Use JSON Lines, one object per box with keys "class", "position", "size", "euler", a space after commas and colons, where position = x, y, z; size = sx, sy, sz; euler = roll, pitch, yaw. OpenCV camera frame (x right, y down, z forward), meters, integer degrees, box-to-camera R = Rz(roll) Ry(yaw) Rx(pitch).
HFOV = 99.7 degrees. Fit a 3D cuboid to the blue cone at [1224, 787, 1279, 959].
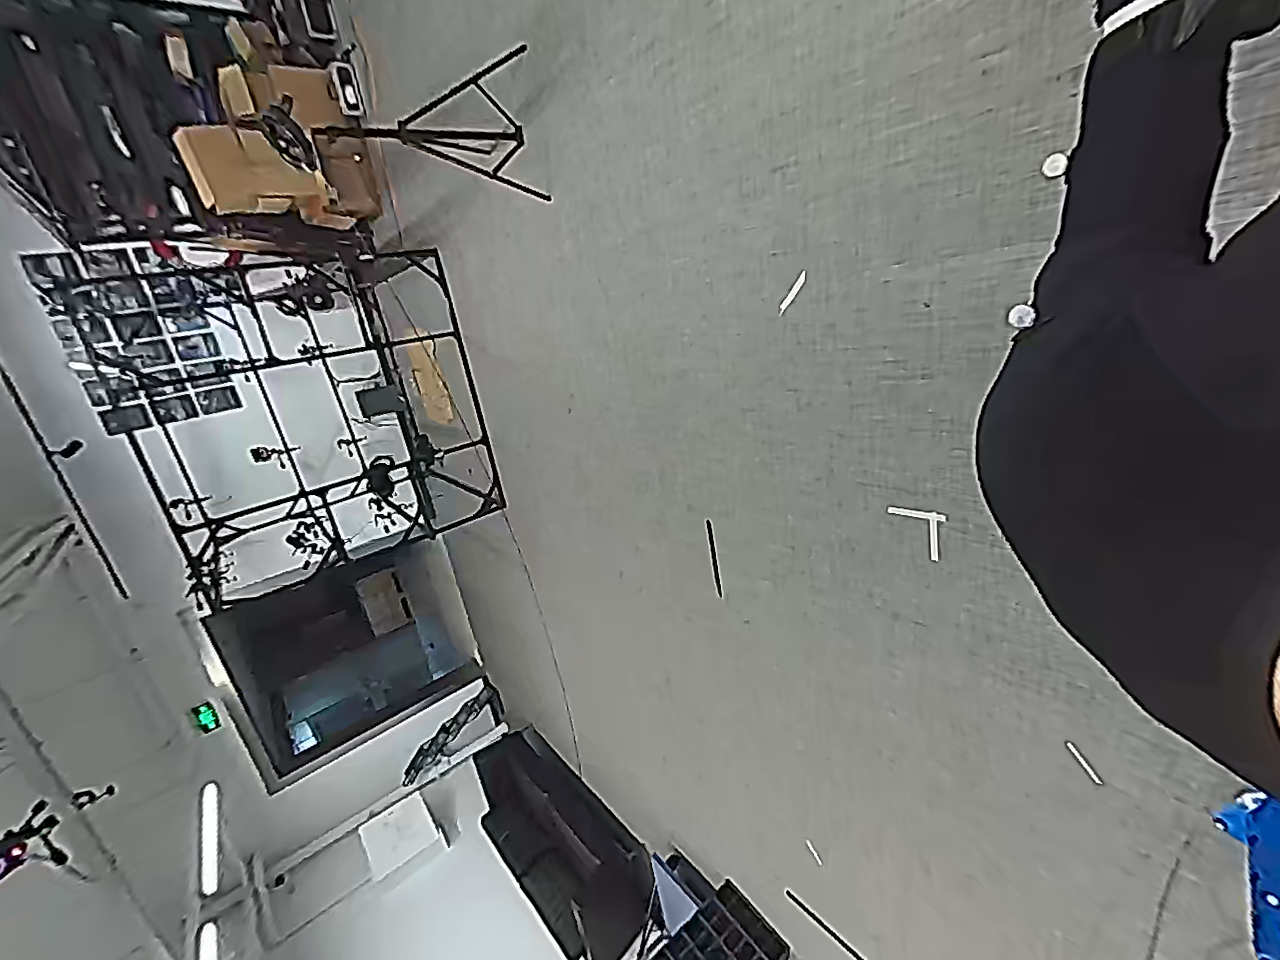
{"class": "blue cone", "position": [1.322, 0.833, 1.098], "size": [0.193, 0.380, 0.192], "euler": [39, 138, 38]}
